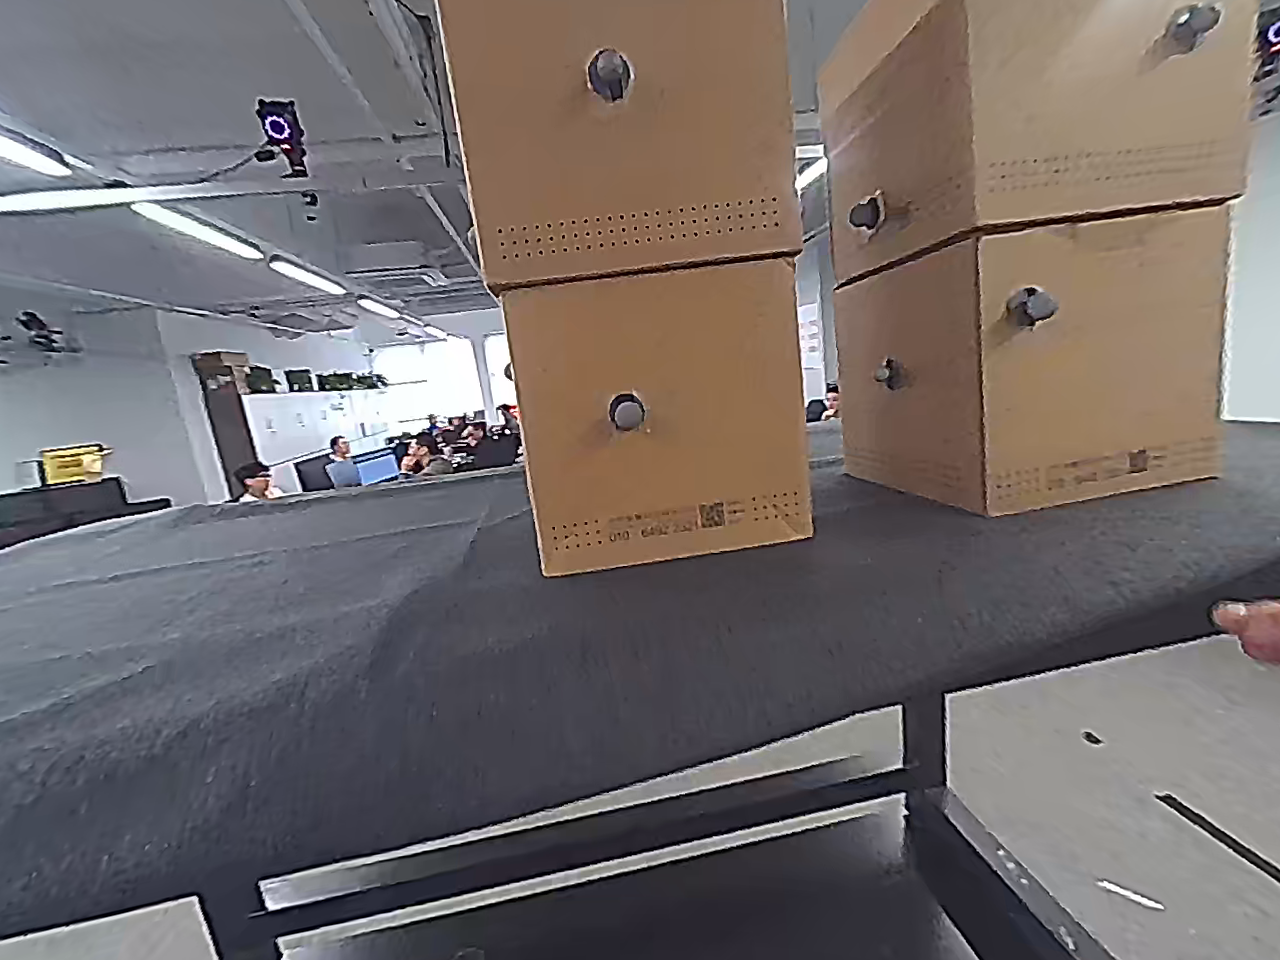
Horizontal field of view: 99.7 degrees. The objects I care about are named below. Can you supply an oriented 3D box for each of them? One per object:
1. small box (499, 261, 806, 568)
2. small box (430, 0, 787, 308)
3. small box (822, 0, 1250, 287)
[{"bbox_3d":[0.008,-0.042,0.389,0.168,0.176,0.179,-8,10,-4],"label":"small box"},{"bbox_3d":[-0.013,-0.201,0.351,0.179,0.176,0.168,-10,9,-3],"label":"small box"},{"bbox_3d":[0.245,-0.237,0.367,0.179,0.176,0.168,-10,9,-6],"label":"small box"}]
